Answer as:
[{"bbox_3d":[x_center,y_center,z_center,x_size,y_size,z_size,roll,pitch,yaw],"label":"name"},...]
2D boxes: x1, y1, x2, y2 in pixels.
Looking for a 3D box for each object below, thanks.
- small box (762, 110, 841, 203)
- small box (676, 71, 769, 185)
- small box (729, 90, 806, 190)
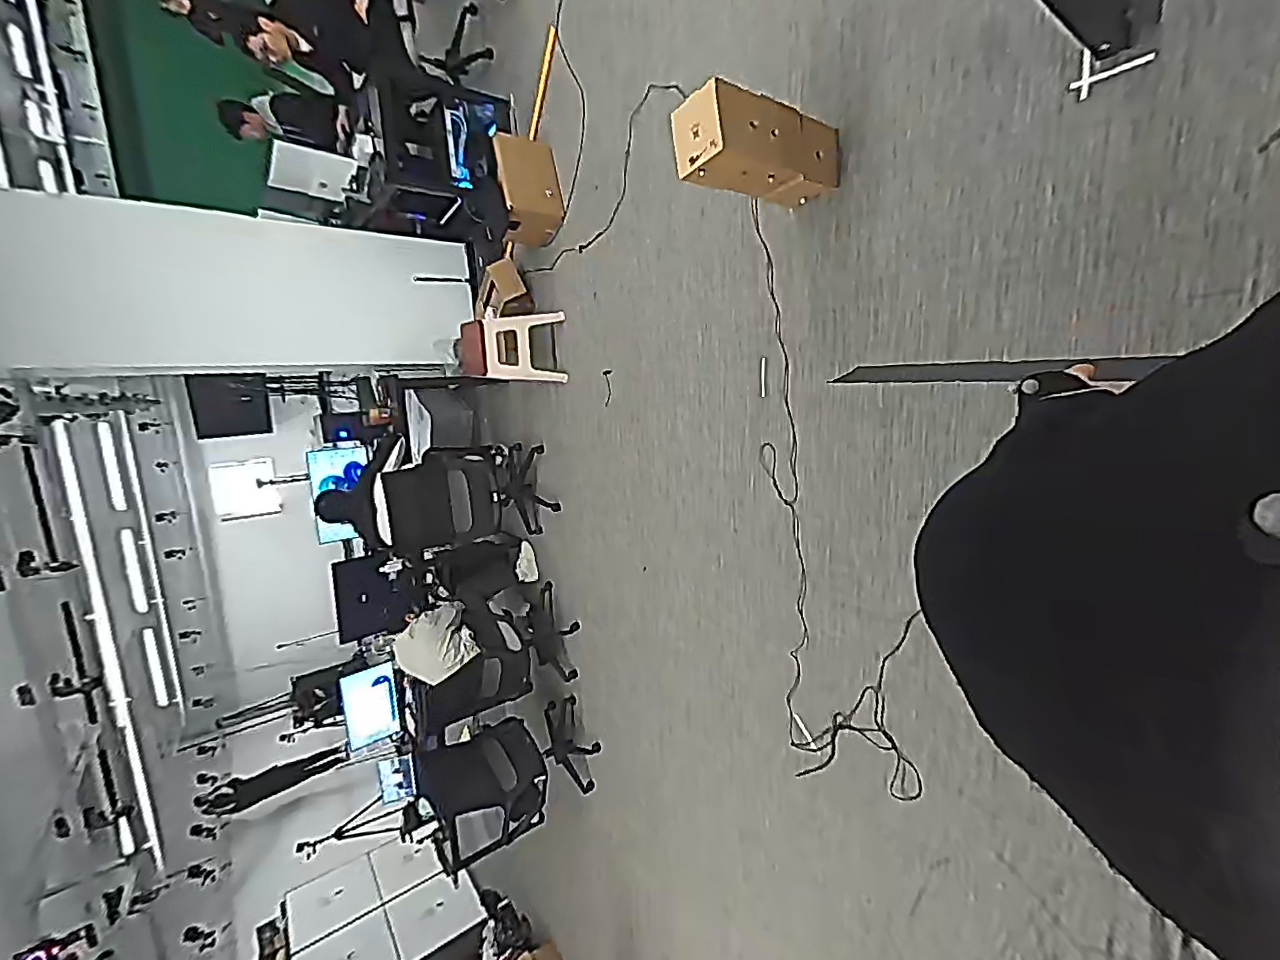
[{"bbox_3d":[0.479,-0.952,1.607,0.168,0.176,0.179,7,104,53],"label":"small box"},{"bbox_3d":[0.217,-0.909,1.417,0.168,0.176,0.179,-2,95,54],"label":"small box"},{"bbox_3d":[0.348,-0.936,1.513,0.168,0.176,0.179,1,97,53],"label":"small box"}]
